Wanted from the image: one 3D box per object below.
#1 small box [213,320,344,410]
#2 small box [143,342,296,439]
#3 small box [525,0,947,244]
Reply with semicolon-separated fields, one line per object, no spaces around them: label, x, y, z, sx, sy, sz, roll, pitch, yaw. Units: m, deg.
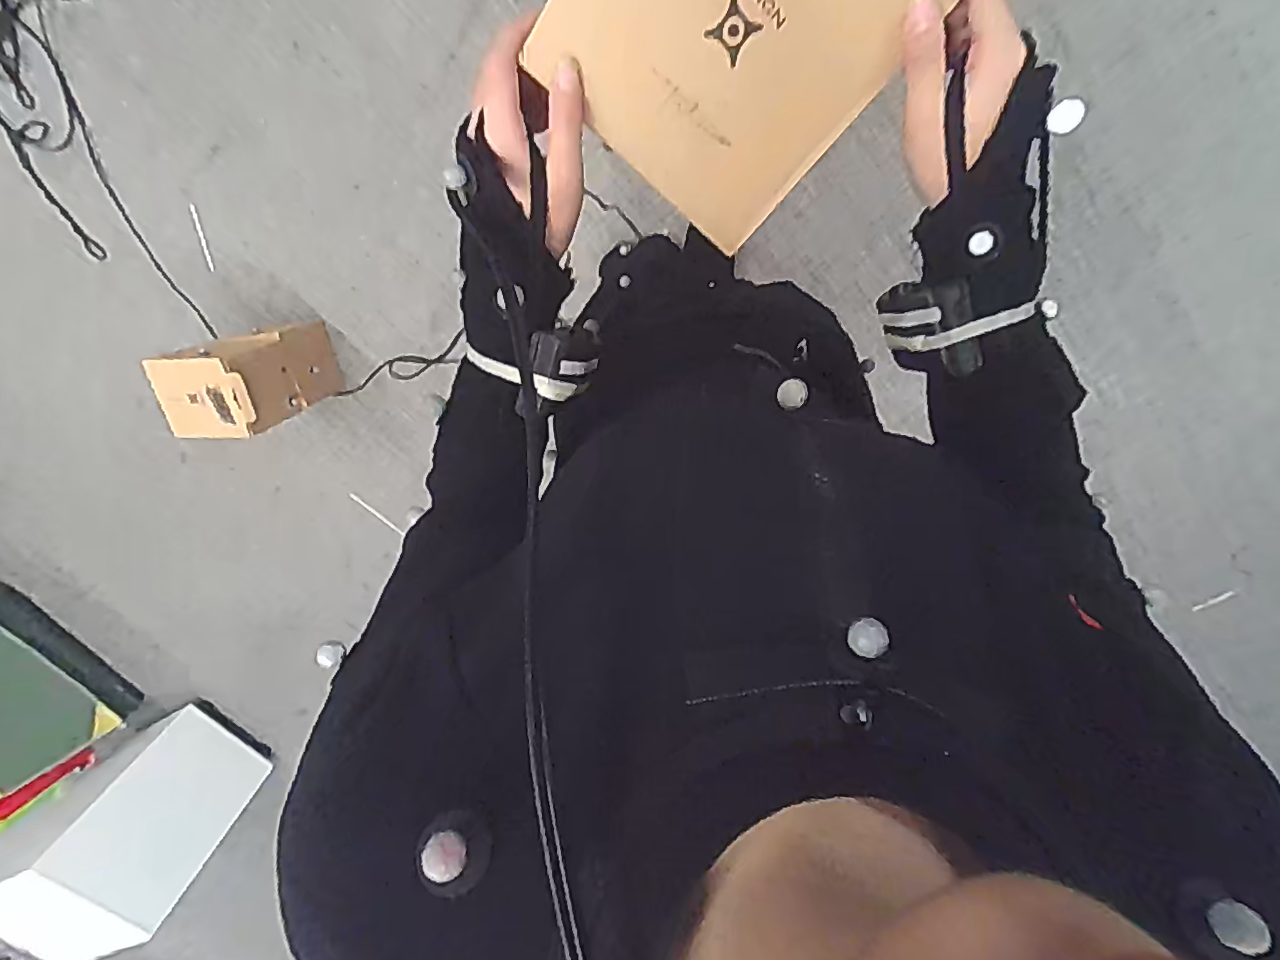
small box;-0.847;-0.272;1.292;0.168;0.176;0.179;-4;116;7
small box;-0.871;-0.195;1.147;0.179;0.176;0.168;0;116;6
small box;0.051;-0.294;0.341;0.168;0.176;0.179;32;122;-23
